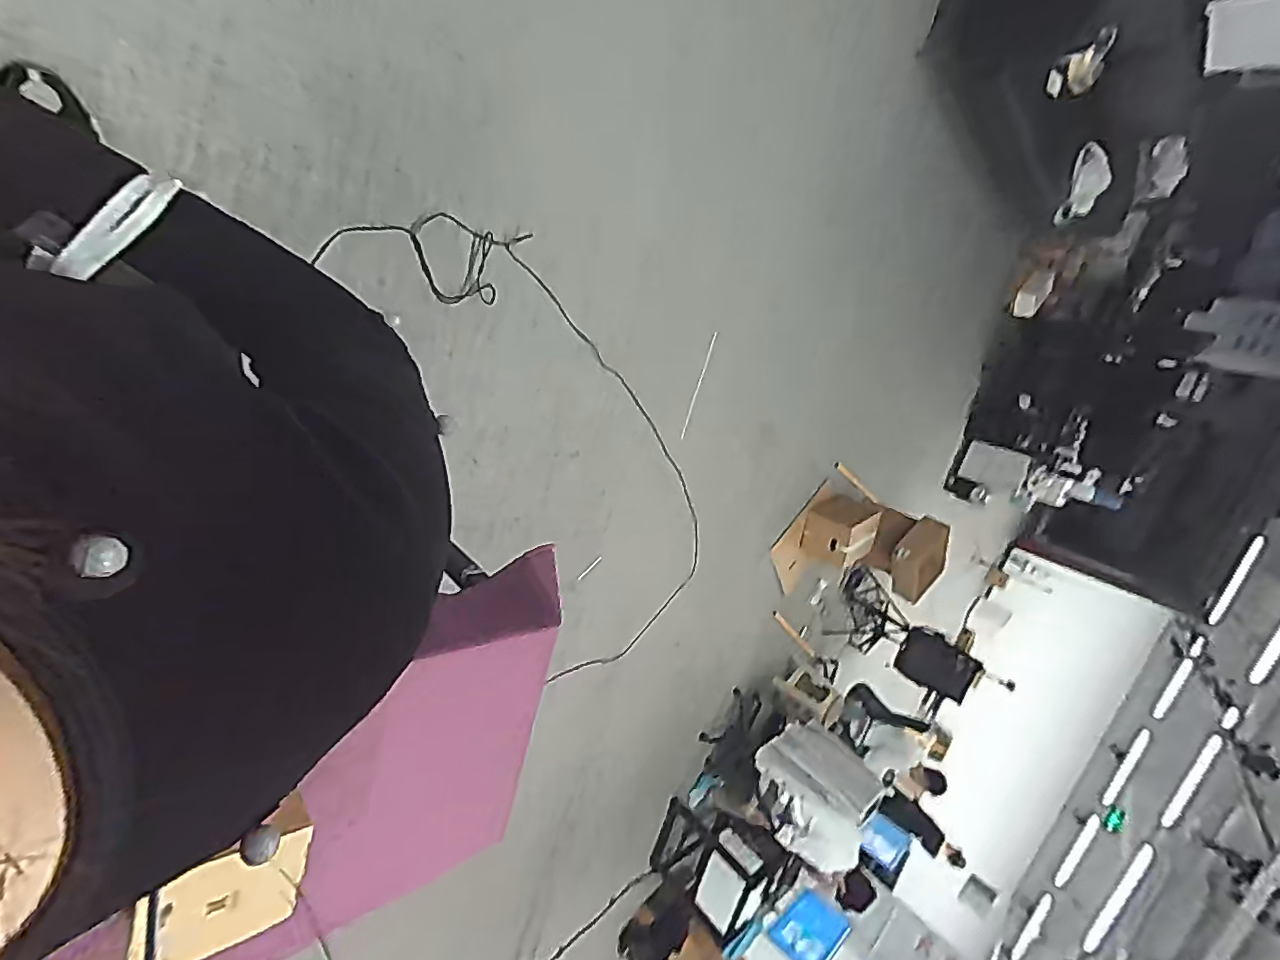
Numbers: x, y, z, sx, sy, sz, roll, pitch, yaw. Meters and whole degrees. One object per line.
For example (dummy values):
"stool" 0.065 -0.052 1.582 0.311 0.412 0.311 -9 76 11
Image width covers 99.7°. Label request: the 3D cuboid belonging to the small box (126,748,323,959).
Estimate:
"small box" -0.566 0.501 0.735 0.179 0.176 0.168 6 106 -47
